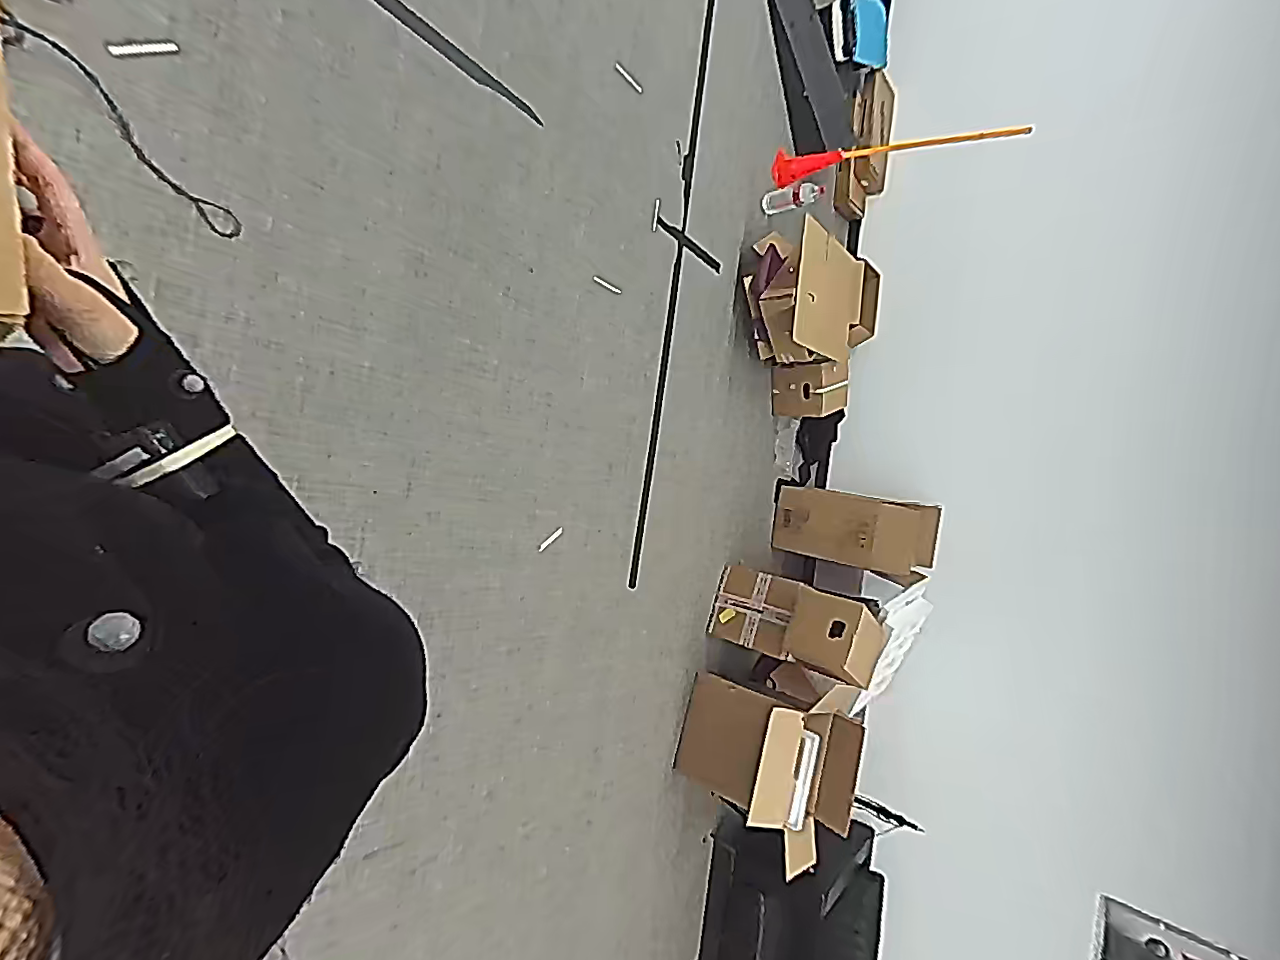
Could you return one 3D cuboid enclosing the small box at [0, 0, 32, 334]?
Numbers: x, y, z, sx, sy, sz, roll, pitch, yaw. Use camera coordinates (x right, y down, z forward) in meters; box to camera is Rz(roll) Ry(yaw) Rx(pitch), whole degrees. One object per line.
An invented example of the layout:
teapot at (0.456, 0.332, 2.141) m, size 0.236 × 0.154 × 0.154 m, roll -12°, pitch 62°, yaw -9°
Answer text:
small box at (-0.412, -0.154, 0.239) m, size 0.168 × 0.176 × 0.179 m, roll -7°, pitch 95°, yaw -57°
